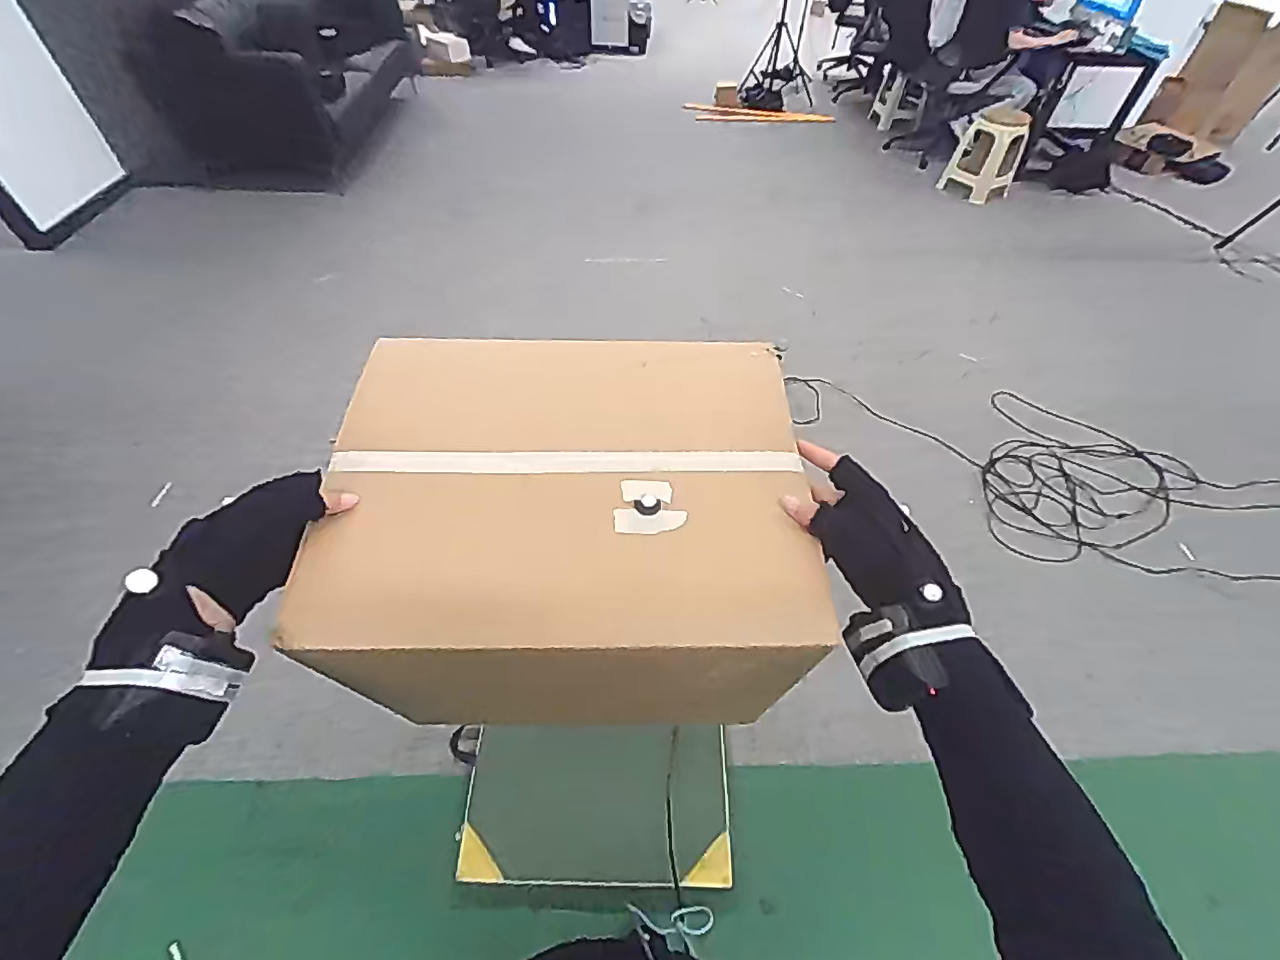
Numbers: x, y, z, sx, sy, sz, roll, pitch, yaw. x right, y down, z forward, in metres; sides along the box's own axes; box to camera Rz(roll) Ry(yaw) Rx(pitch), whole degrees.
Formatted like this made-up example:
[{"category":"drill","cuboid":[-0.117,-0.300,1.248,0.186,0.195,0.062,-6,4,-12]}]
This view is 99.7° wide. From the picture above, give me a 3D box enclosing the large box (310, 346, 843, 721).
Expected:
[{"category":"large box","cuboid":[-0.054,0.072,0.603,0.408,0.320,0.320,1,57,-3]}]
